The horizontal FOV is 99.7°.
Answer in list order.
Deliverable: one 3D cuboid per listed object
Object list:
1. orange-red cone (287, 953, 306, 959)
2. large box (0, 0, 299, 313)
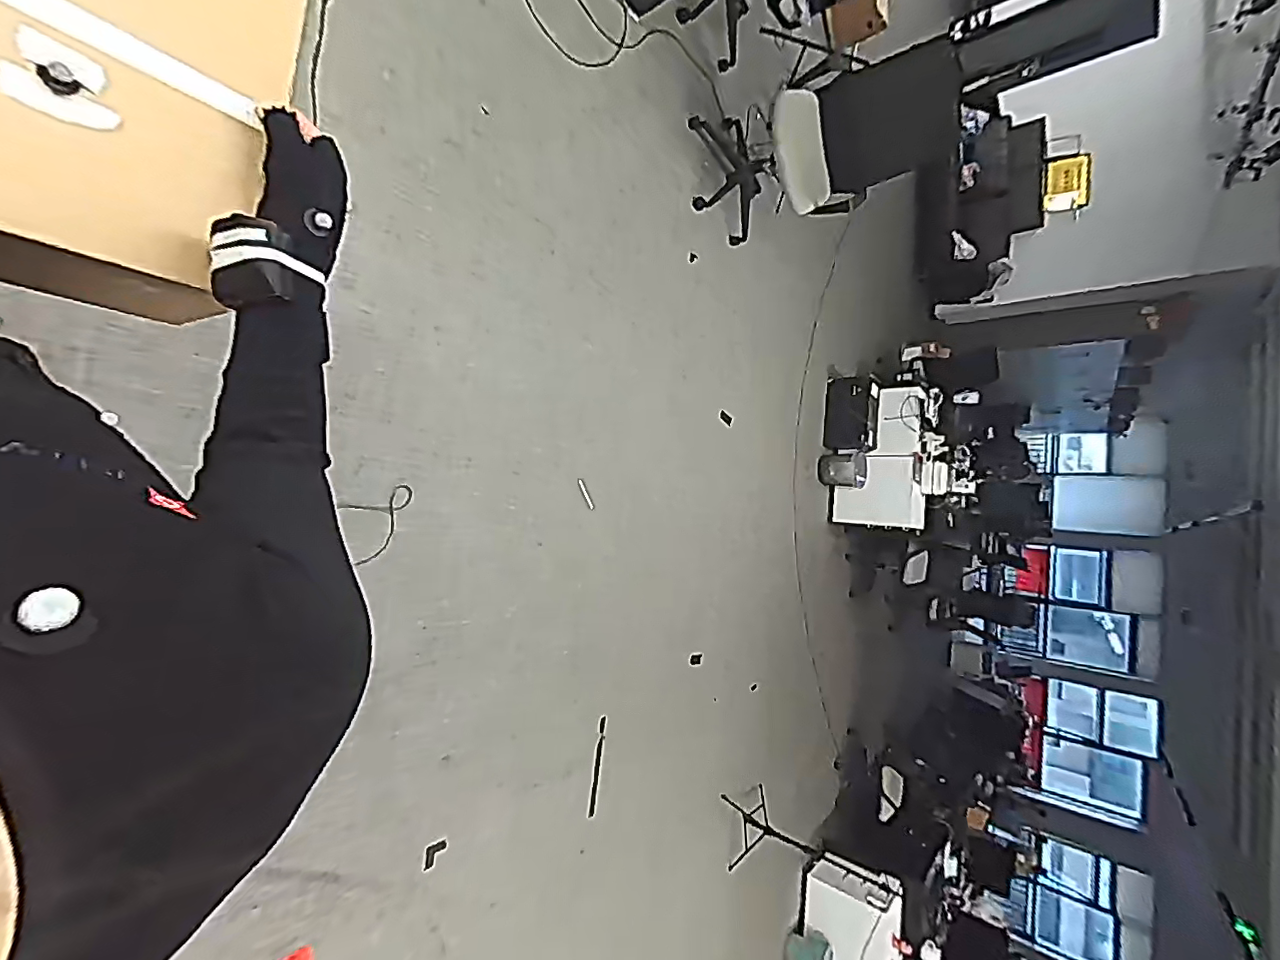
[{"bbox_3d":[-0.792,1.300,1.207,0.198,0.360,0.199,7,85,-52],"label":"orange-red cone"},{"bbox_3d":[-0.566,-0.354,0.427,0.408,0.320,0.320,8,91,-52],"label":"large box"}]
